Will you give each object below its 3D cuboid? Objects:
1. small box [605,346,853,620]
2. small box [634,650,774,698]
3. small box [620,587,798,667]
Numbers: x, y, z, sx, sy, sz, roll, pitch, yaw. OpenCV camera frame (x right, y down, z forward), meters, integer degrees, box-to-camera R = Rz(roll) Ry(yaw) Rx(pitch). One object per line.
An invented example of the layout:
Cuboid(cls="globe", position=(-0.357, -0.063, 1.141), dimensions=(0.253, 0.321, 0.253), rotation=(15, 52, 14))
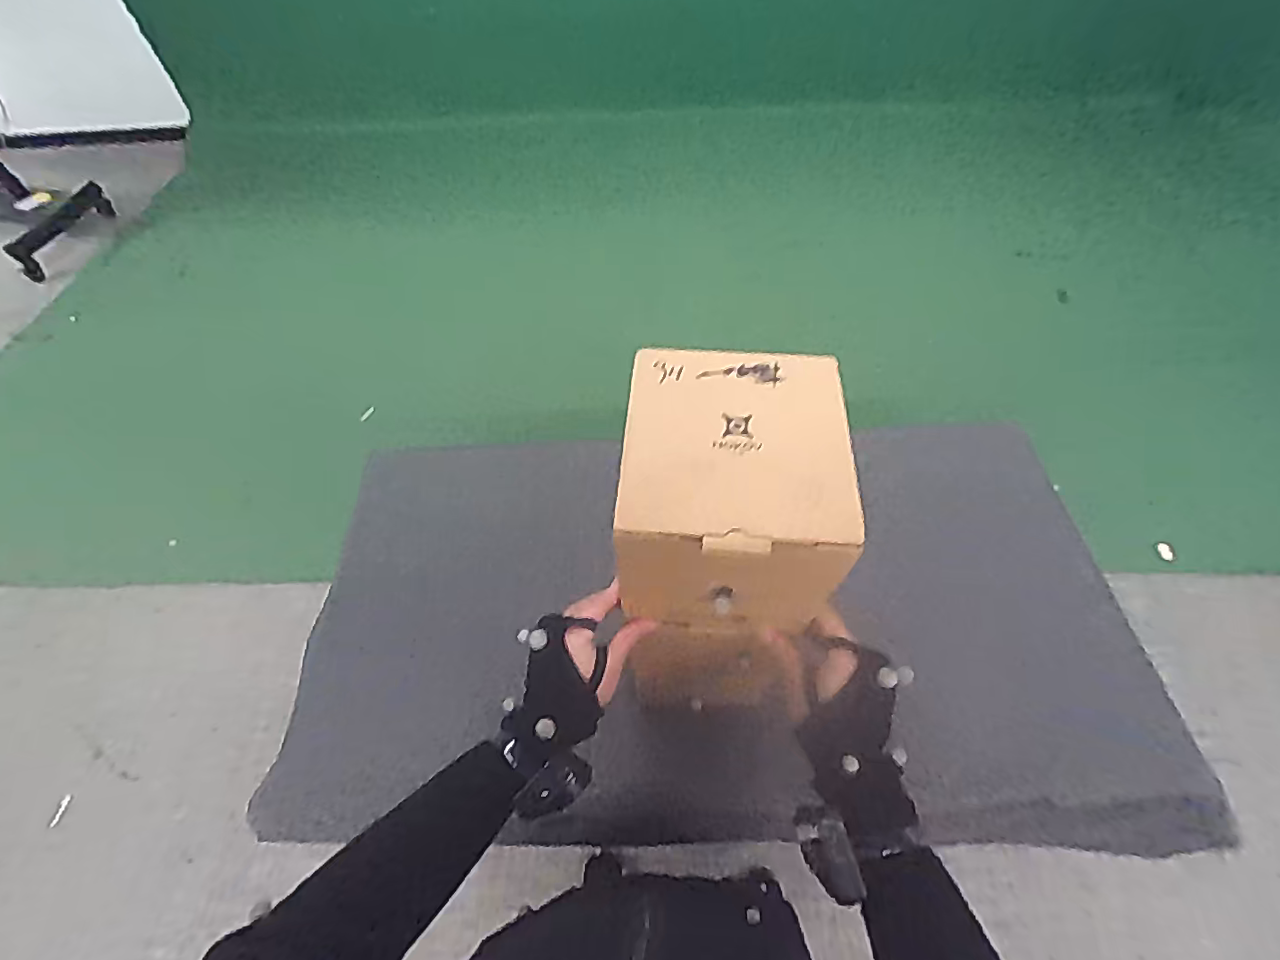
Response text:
Cuboid(cls="small box", position=(0.068, 0.009, 0.464), dimensions=(0.168, 0.176, 0.179), rotation=(4, 58, 4))
Cuboid(cls="small box", position=(0.078, 0.186, 0.737), dimensions=(0.168, 0.176, 0.179), rotation=(-1, 57, 2))
Cuboid(cls="small box", position=(0.071, 0.099, 0.601), dimensions=(0.168, 0.176, 0.179), rotation=(2, 56, 3))
